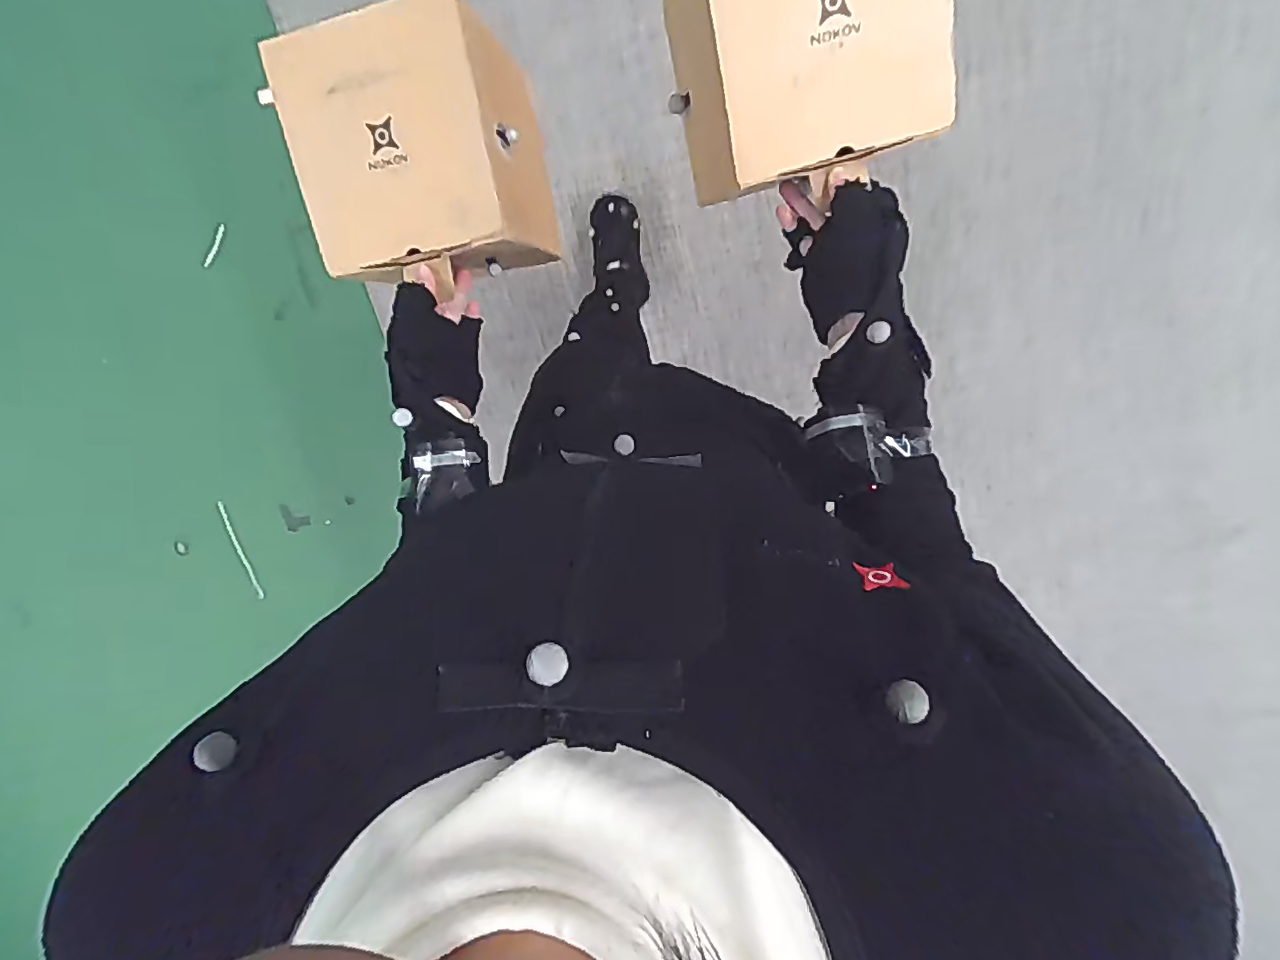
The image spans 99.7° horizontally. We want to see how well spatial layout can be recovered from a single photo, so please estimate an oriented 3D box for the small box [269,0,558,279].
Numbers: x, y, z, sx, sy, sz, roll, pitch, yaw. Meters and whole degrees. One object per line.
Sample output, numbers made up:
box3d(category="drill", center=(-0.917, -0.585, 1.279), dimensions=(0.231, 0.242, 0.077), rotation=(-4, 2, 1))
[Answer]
box3d(category="small box", center=(-0.190, -0.296, 0.511), dimensions=(0.168, 0.176, 0.179), rotation=(-8, 104, 11))
